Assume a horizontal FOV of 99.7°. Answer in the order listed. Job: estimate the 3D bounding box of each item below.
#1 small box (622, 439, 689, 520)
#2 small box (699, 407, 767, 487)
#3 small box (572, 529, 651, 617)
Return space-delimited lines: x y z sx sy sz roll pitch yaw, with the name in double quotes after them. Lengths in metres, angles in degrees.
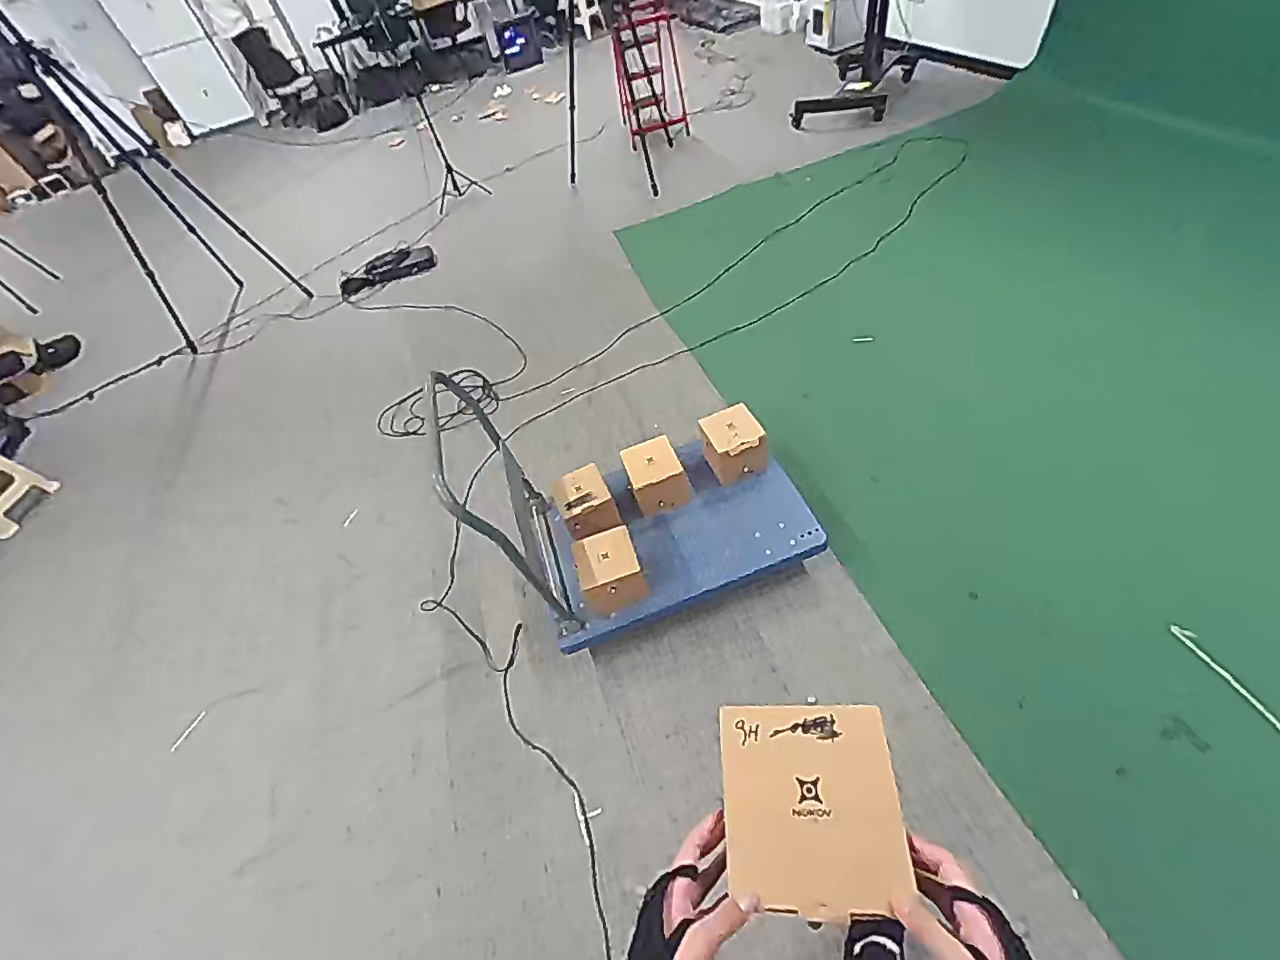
0.053 0.000 1.781 0.168 0.176 0.179 -21 50 -3 "small box"
0.311 -0.107 1.798 0.168 0.176 0.179 -23 49 -3 "small box"
-0.082 0.277 1.583 0.179 0.176 0.168 -19 49 -2 "small box"
